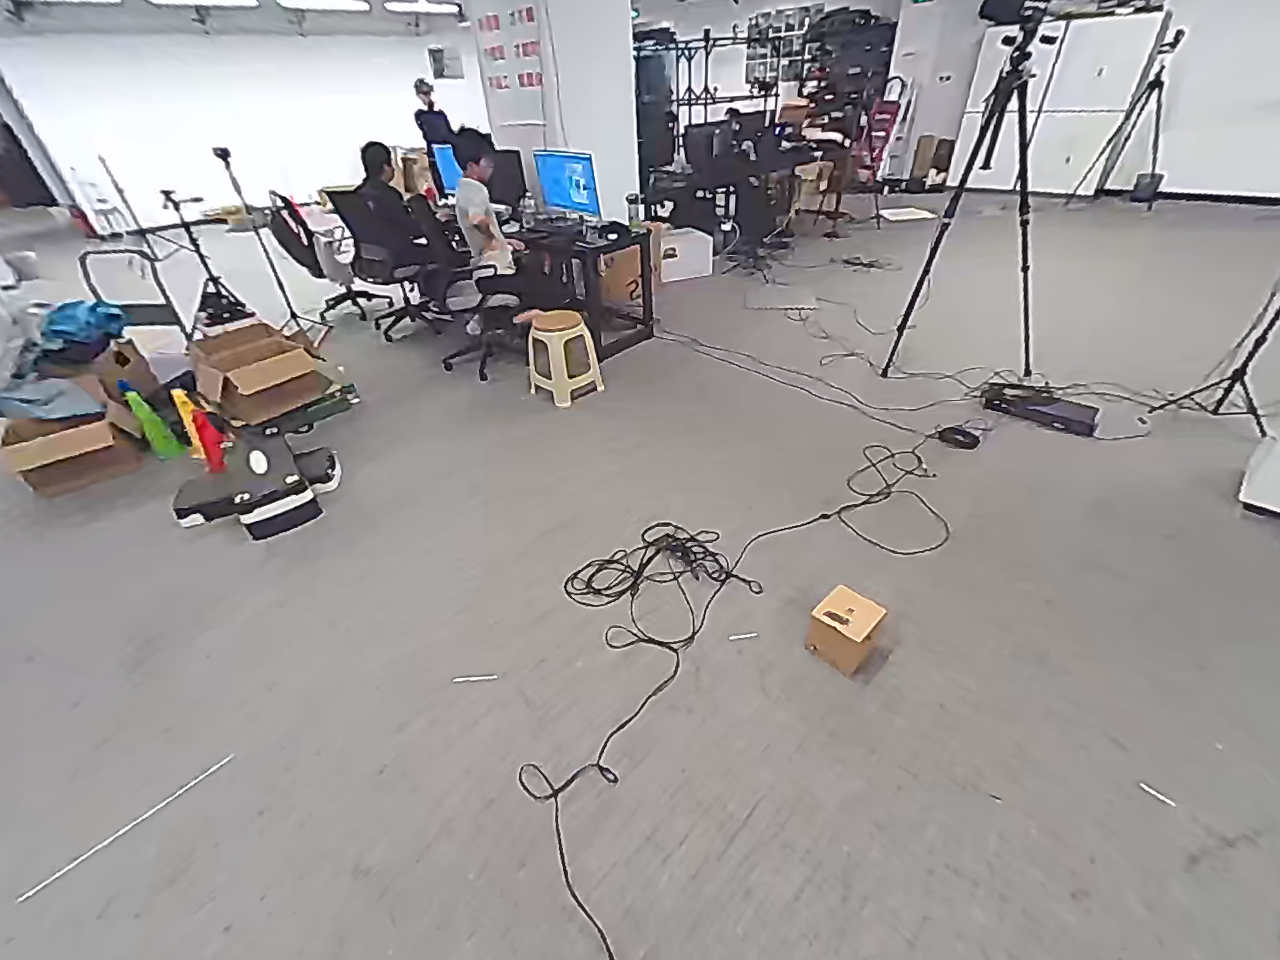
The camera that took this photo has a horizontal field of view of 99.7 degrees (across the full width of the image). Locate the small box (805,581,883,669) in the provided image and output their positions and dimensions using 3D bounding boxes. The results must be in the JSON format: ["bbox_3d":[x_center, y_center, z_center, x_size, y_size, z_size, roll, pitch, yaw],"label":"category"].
[{"bbox_3d":[0.645,0.466,1.728,0.179,0.176,0.168,-31,44,-32],"label":"small box"}]
